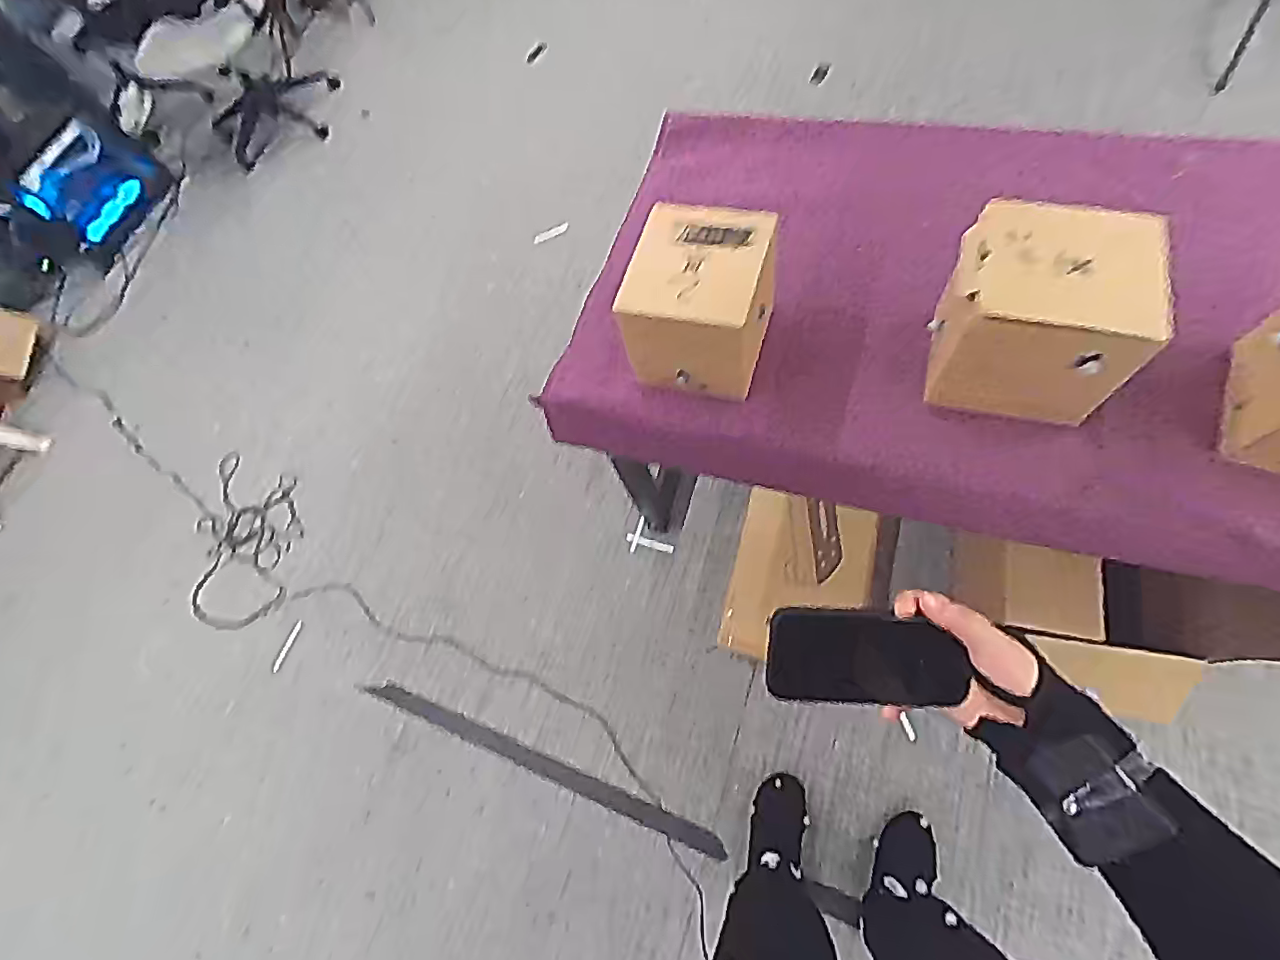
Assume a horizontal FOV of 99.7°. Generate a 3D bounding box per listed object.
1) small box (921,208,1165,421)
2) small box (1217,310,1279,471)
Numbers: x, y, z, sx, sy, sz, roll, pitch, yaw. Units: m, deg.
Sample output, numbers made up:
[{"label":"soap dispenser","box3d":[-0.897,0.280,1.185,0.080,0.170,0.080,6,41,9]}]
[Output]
[{"label":"small box","box3d":[0.459,-0.187,0.639,0.179,0.176,0.168,12,68,16]},{"label":"small box","box3d":[0.750,-0.100,0.543,0.179,0.176,0.168,19,72,18]}]
